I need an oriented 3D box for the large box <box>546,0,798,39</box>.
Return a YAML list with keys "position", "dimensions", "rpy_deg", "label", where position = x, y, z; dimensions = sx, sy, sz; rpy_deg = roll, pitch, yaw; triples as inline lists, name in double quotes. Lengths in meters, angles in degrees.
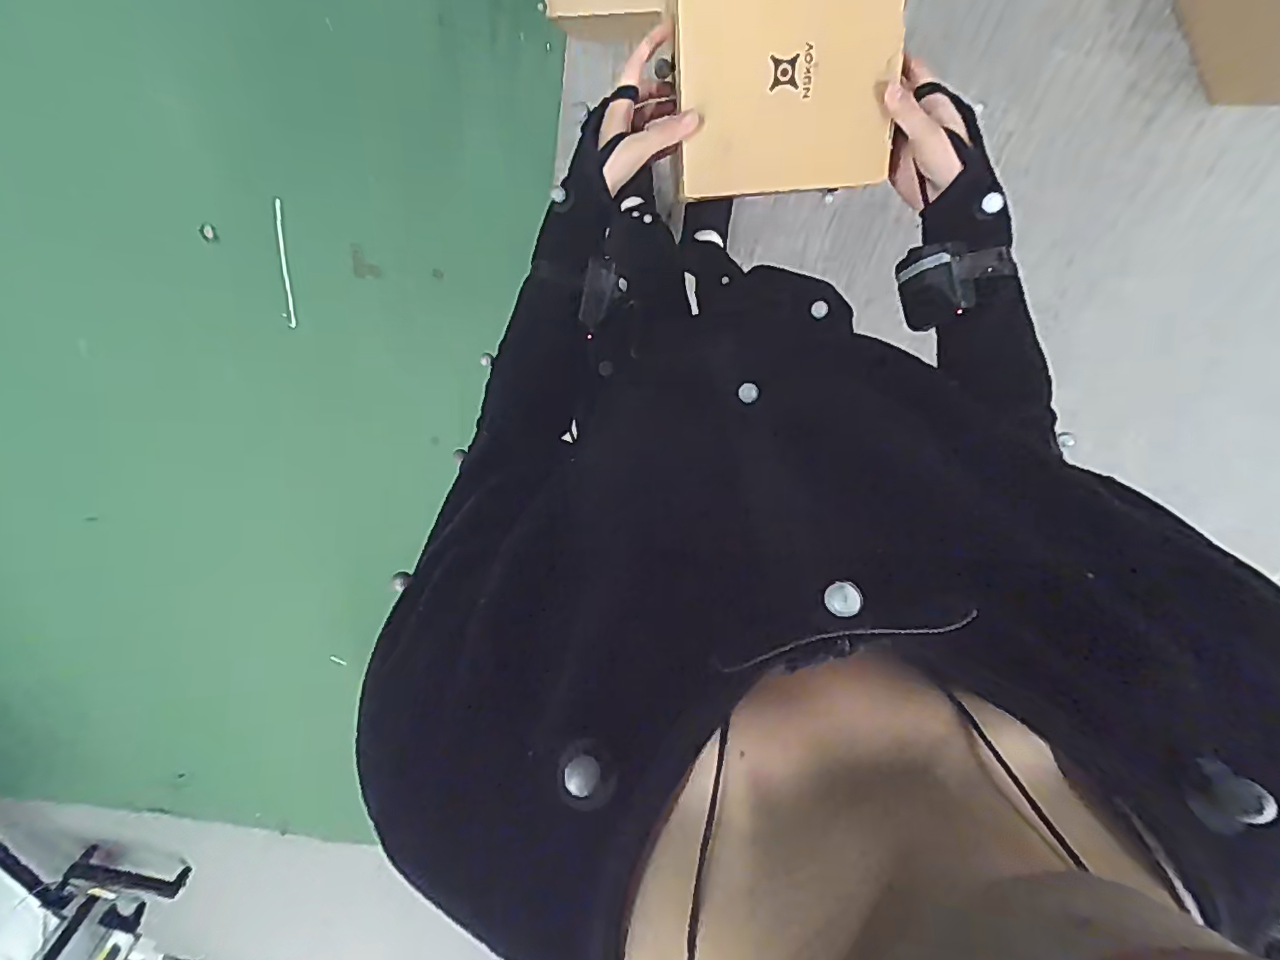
- position: [0.054, -0.940, 0.879]
  dimensions: [0.408, 0.320, 0.320]
  rpy_deg: [0, 123, 4]
  label: "large box"
